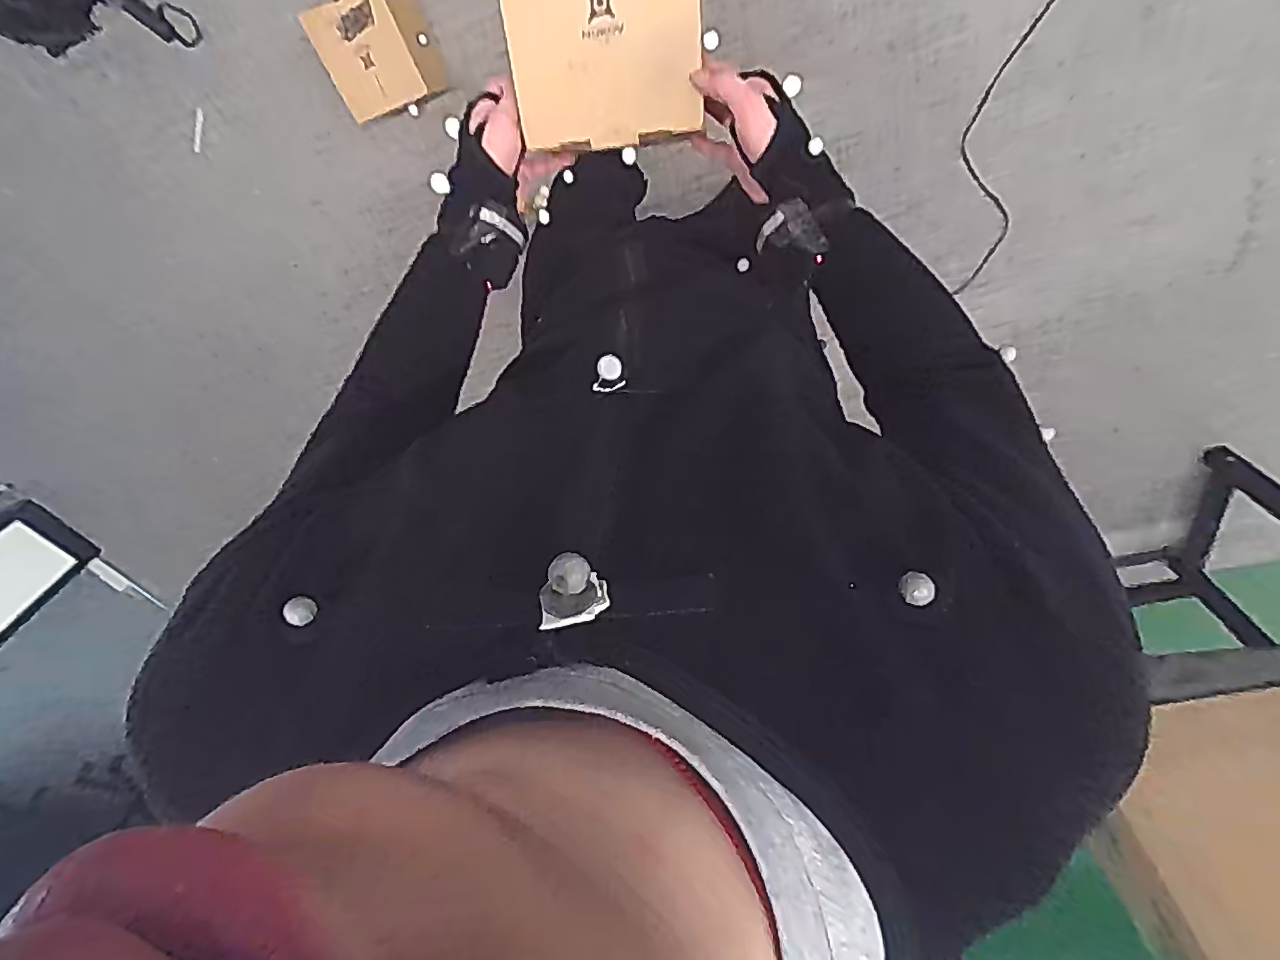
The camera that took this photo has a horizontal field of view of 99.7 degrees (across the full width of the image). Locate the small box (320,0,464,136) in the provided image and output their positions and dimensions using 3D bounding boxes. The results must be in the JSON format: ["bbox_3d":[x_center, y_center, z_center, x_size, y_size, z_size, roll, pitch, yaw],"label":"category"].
[{"bbox_3d":[-0.484,-0.827,1.086,0.168,0.176,0.179,-13,128,14],"label":"small box"}]

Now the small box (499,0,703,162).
[{"bbox_3d":[-0.026,-0.423,0.531,0.168,0.176,0.179,-2,119,10],"label":"small box"}]
